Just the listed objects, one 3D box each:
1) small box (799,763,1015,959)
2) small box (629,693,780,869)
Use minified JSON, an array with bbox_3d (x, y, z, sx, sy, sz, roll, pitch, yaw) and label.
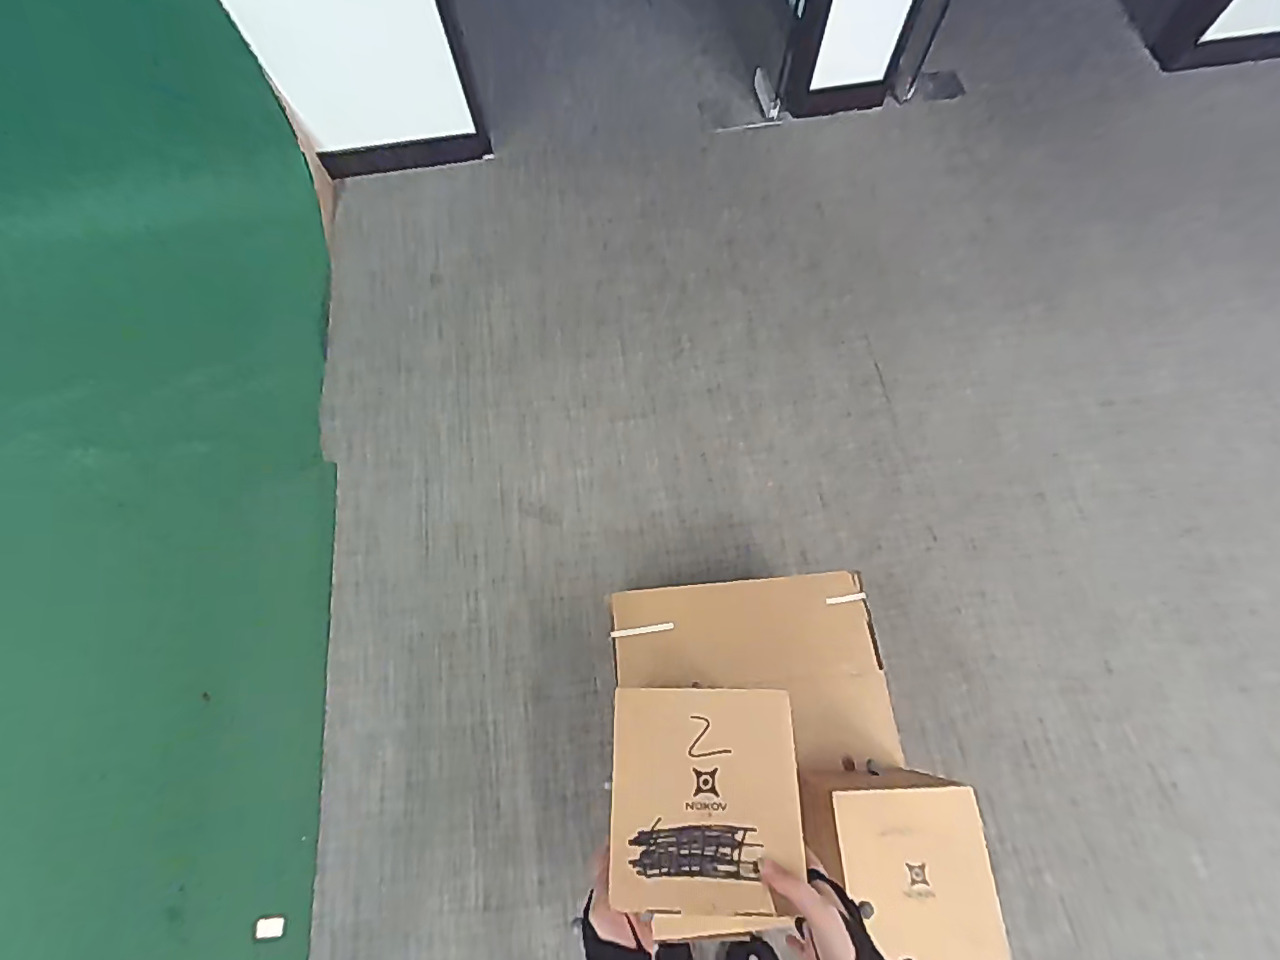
[{"bbox_3d":[0.305,0.454,0.659,0.168,0.176,0.179,-2,68,-1],"label":"small box"},{"bbox_3d":[0.072,0.376,0.697,0.168,0.176,0.179,-3,67,1],"label":"small box"}]
